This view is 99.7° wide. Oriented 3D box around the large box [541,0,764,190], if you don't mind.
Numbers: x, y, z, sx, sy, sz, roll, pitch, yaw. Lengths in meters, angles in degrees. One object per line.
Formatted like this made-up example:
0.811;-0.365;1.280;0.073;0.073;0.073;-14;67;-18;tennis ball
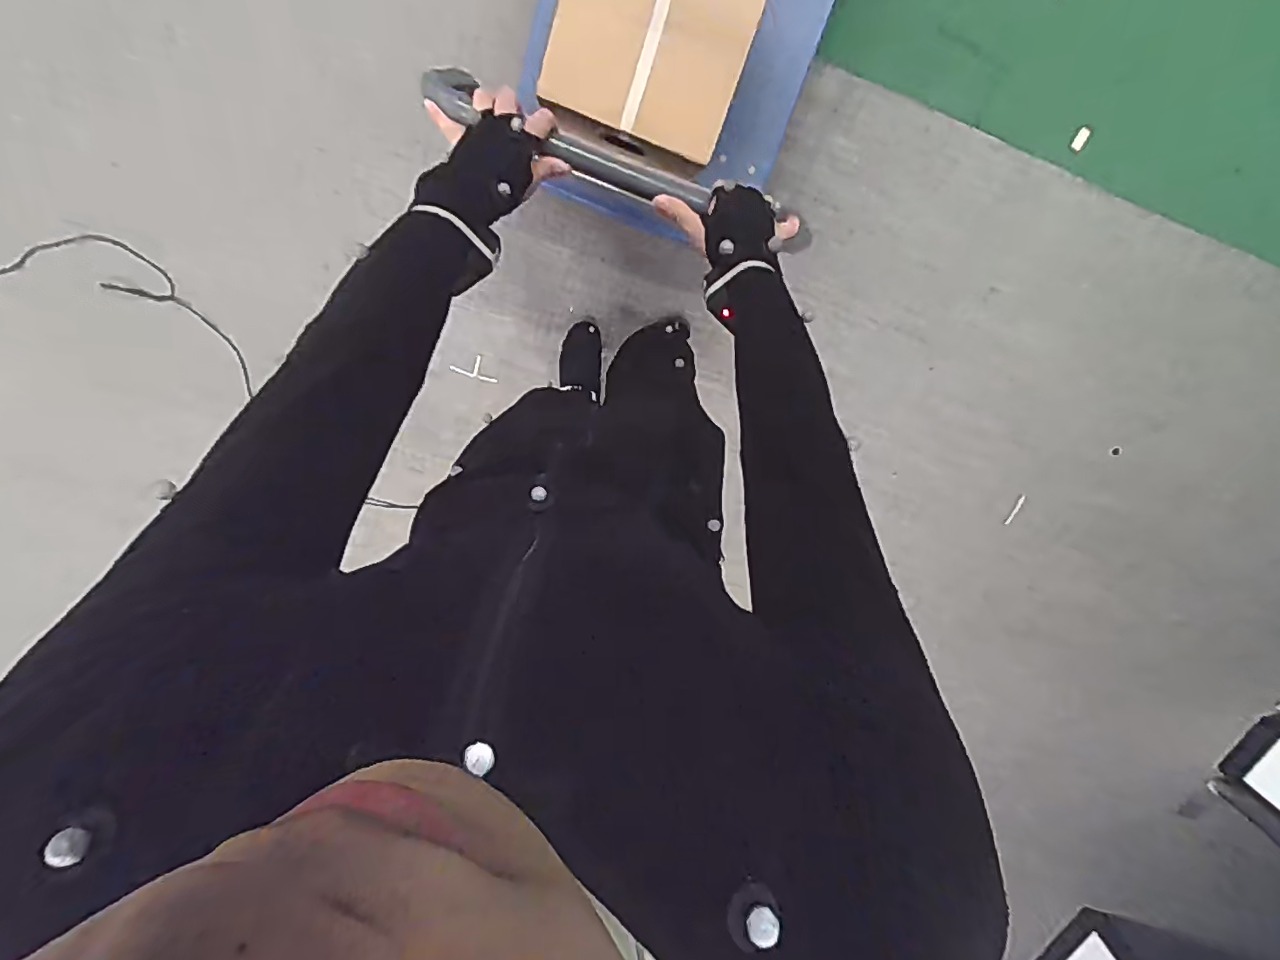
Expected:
0.034;-0.824;1.007;0.320;0.320;0.408;18;108;-9;large box
